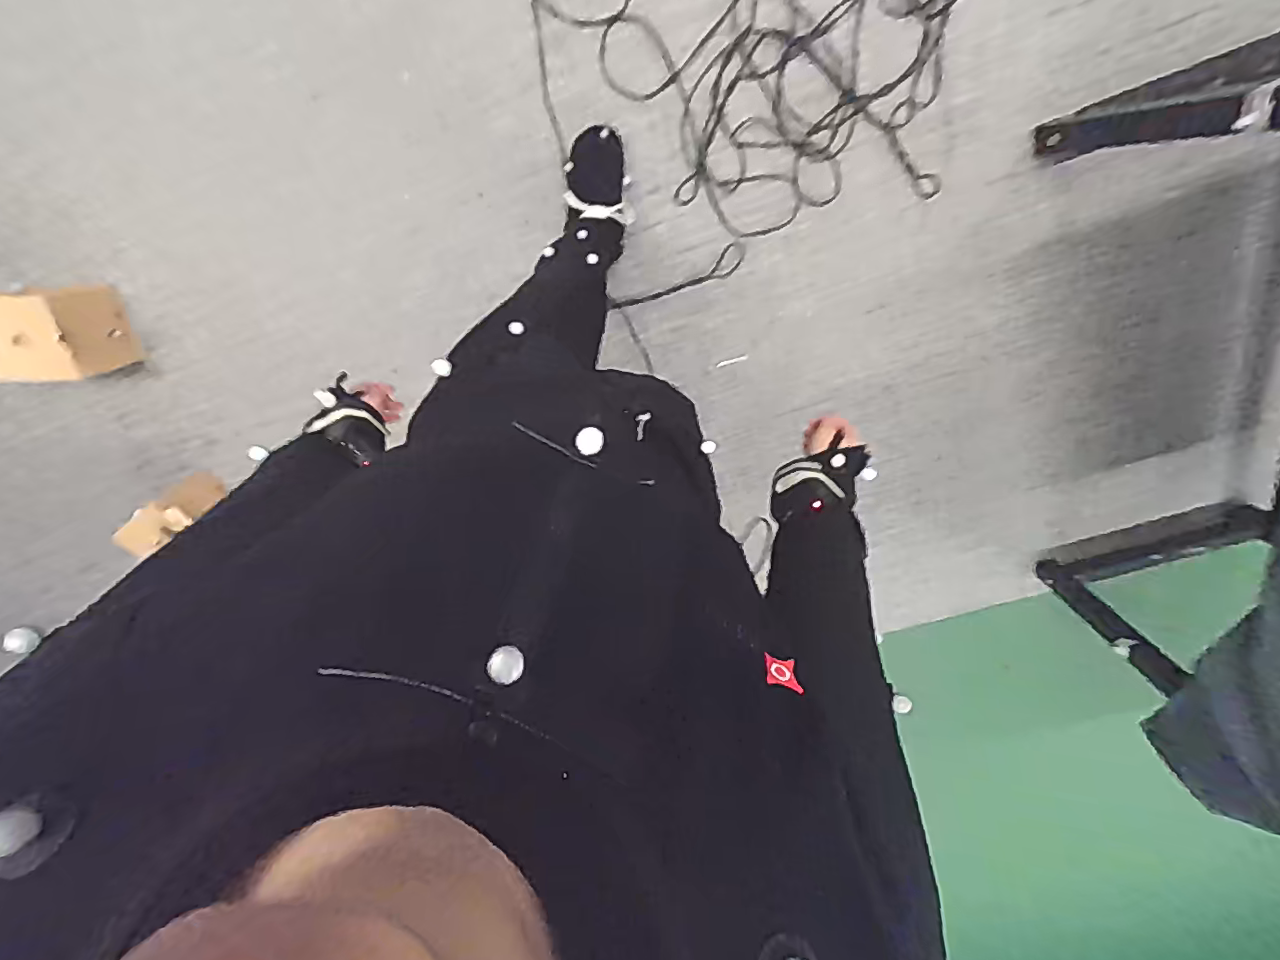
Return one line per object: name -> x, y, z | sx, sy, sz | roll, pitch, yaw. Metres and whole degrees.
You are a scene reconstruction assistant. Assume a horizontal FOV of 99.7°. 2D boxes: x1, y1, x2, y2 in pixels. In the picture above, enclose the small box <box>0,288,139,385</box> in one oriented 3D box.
small box -> -1.218, -0.300, 1.122 | 0.179, 0.176, 0.168 | -1, 117, -1
